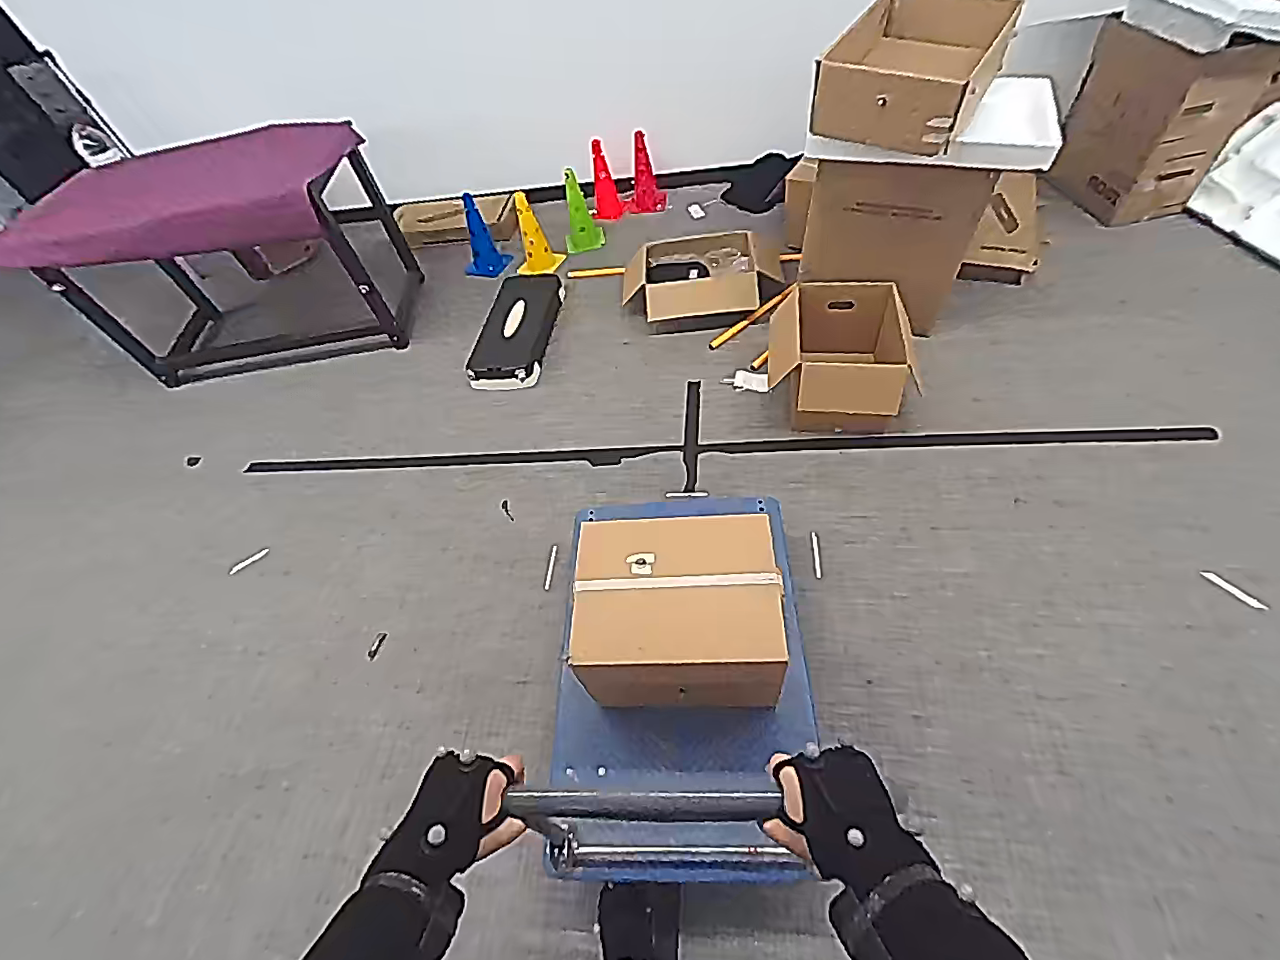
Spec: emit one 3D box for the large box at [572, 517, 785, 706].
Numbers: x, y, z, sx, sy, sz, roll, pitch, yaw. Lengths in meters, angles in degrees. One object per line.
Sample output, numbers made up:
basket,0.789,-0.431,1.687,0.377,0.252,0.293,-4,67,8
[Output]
large box,0.090,0.305,1.210,0.408,0.320,0.320,-4,52,7
